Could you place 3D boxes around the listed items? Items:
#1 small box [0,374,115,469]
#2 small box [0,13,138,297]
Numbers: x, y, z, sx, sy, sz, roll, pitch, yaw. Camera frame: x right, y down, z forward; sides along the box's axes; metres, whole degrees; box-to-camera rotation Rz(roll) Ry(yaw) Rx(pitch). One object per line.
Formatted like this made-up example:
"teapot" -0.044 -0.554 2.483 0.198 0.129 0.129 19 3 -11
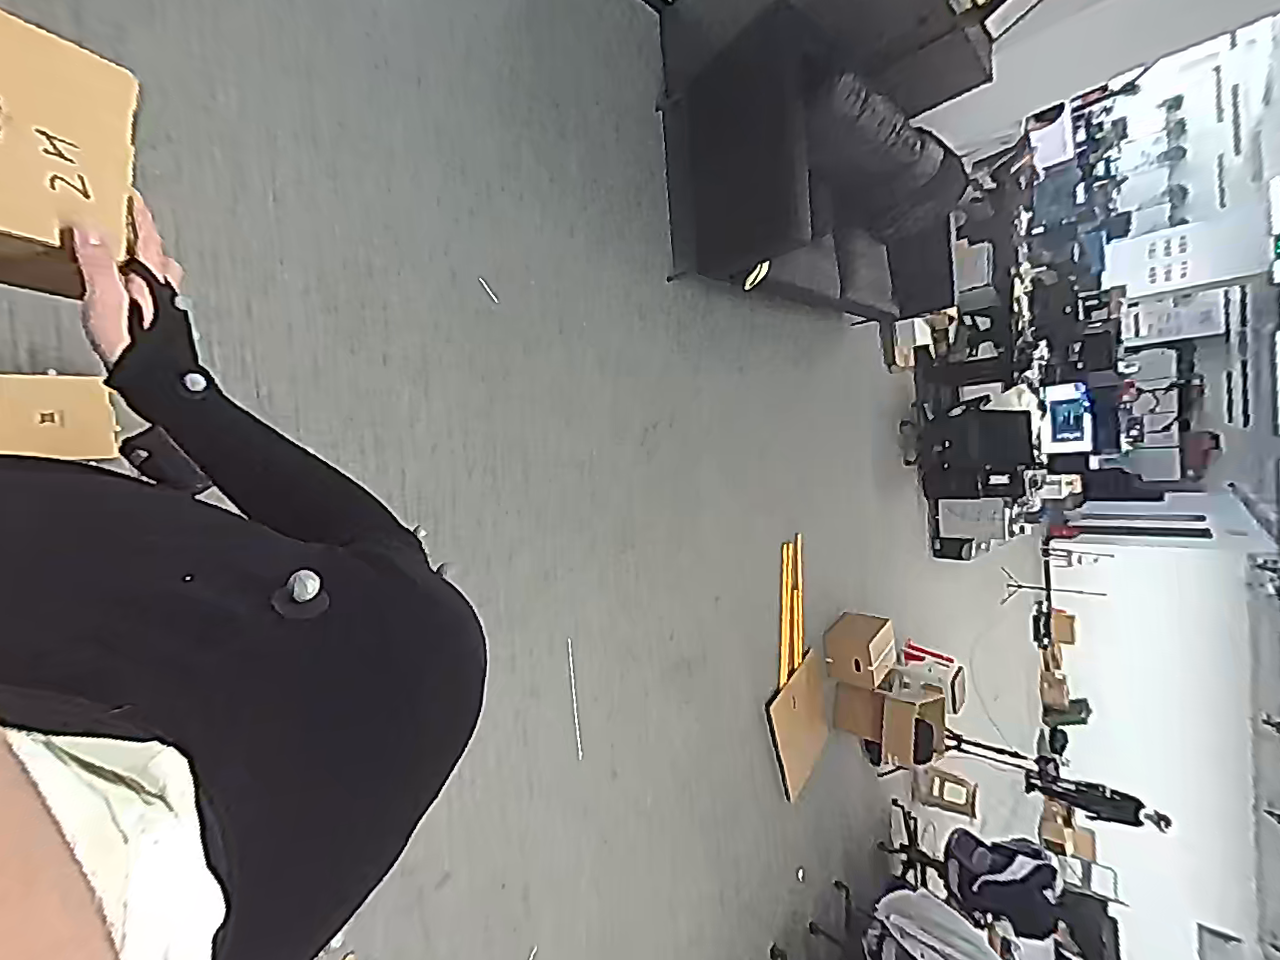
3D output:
"small box" -1.183 -0.113 1.081 0.179 0.176 0.168 -8 94 -47
"small box" -0.545 -0.264 0.438 0.179 0.176 0.168 5 87 -51
